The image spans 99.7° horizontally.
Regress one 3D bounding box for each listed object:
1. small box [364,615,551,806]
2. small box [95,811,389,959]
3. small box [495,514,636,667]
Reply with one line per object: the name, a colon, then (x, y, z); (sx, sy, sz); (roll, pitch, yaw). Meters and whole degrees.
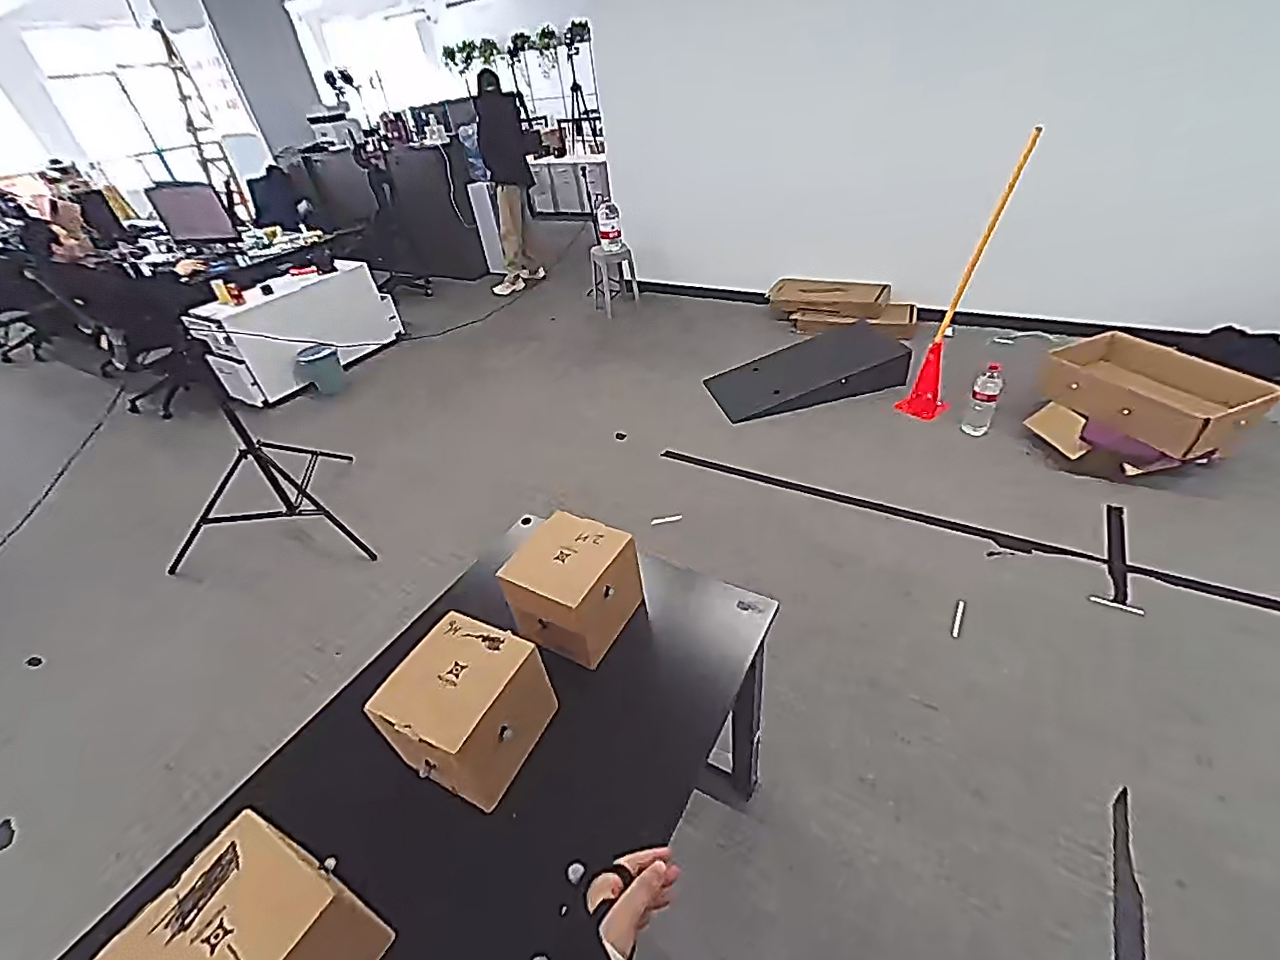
small box: (-0.252, 0.338, 0.795); (0.168, 0.176, 0.179); (13, 43, 24)
small box: (-0.419, 0.517, 0.592); (0.179, 0.176, 0.168); (16, 44, 26)
small box: (-0.119, 0.194, 0.954); (0.168, 0.176, 0.179); (16, 44, 27)
